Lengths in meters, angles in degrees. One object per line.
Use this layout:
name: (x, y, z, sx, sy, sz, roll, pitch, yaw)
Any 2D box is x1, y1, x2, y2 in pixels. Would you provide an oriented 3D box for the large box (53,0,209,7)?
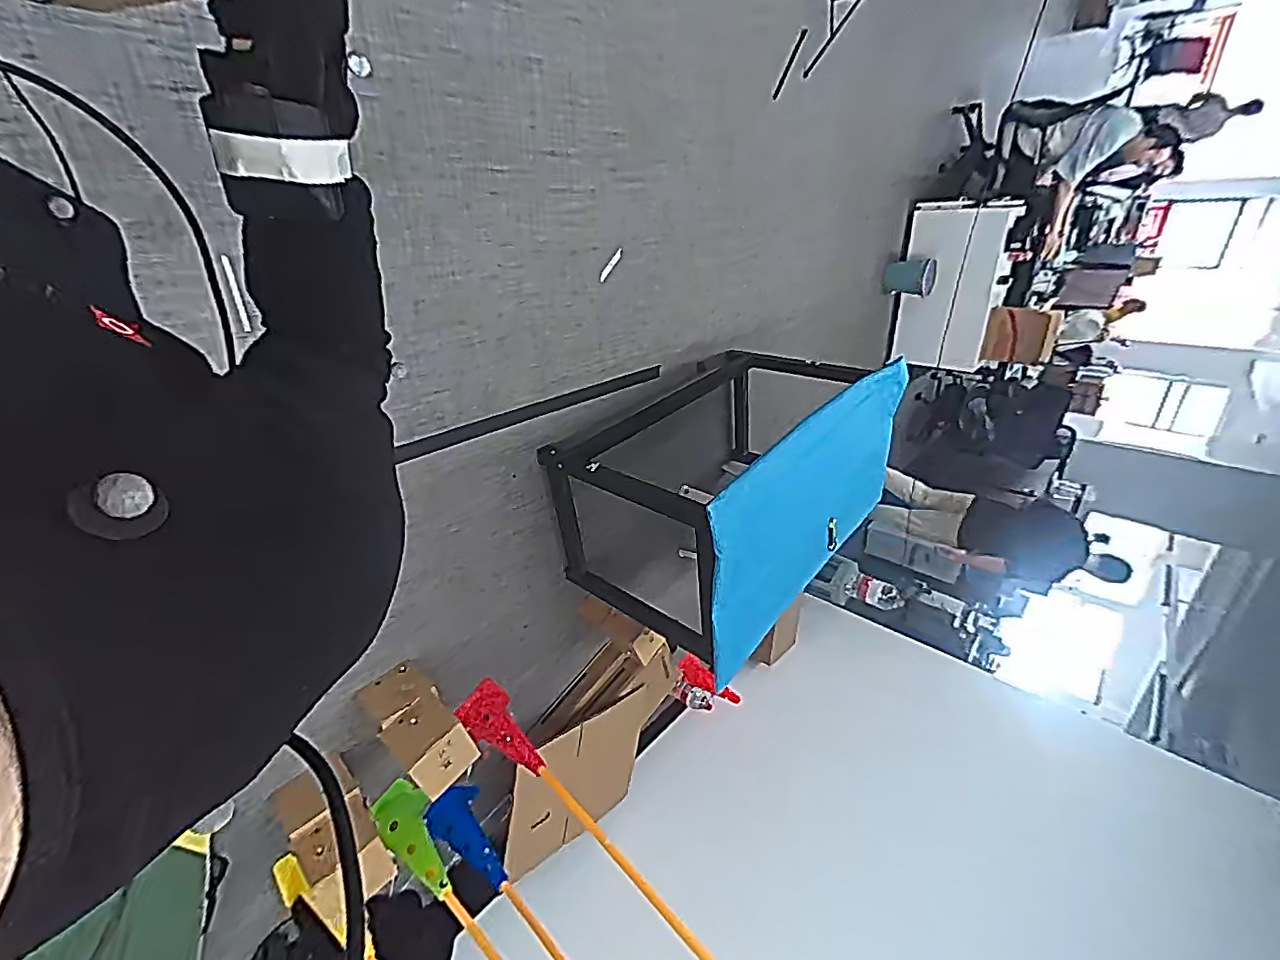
large box: (-0.438, -0.382, 0.154, 0.408, 0.320, 0.320, -23, 133, -42)
